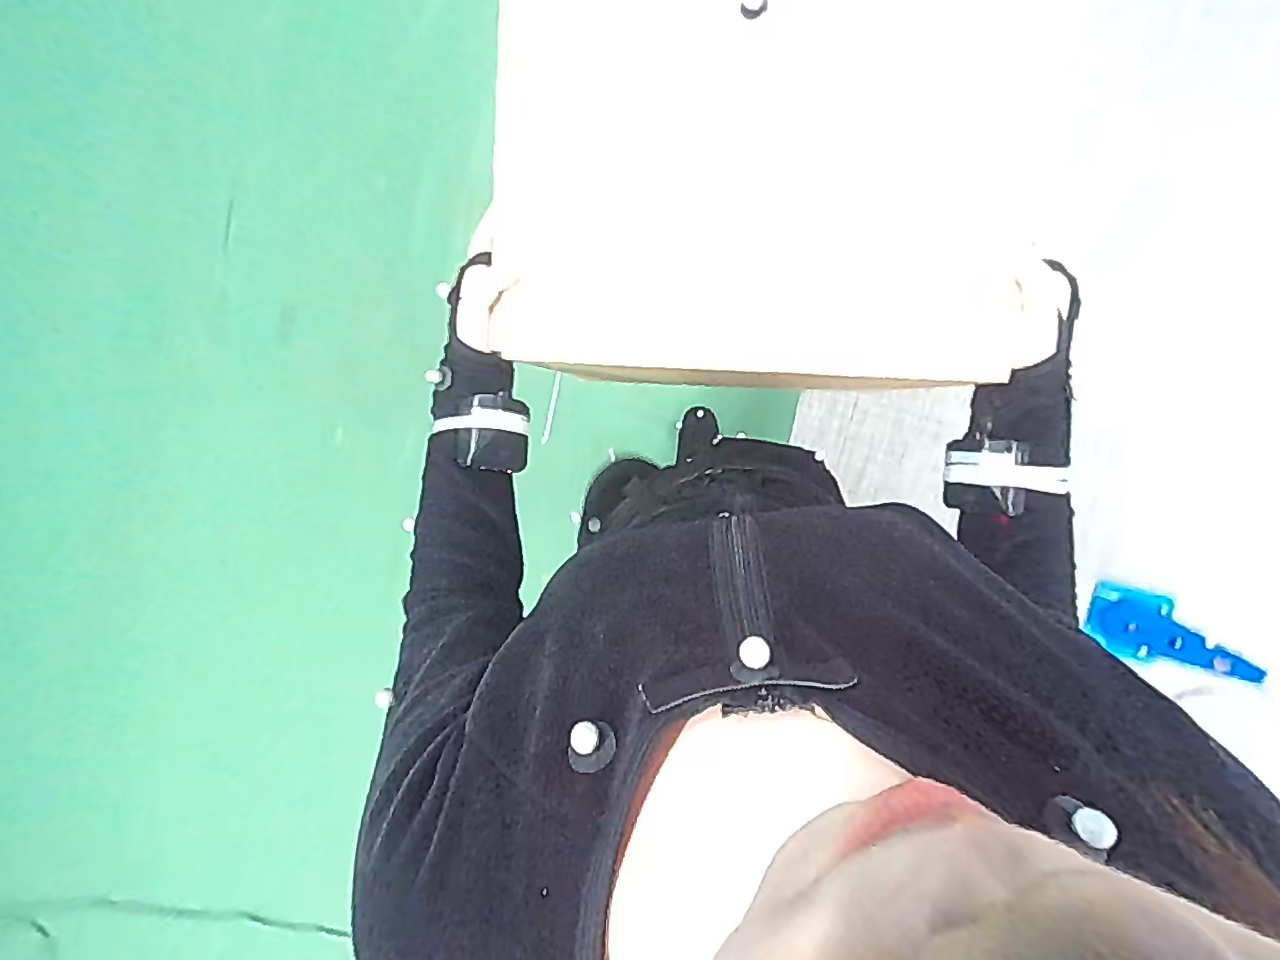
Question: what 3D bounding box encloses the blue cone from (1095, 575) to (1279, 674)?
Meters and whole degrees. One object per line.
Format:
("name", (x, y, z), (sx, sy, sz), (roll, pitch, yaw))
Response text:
("blue cone", (1.272, 0.355, 1.233), (0.192, 0.380, 0.193), (11, 94, 4))
